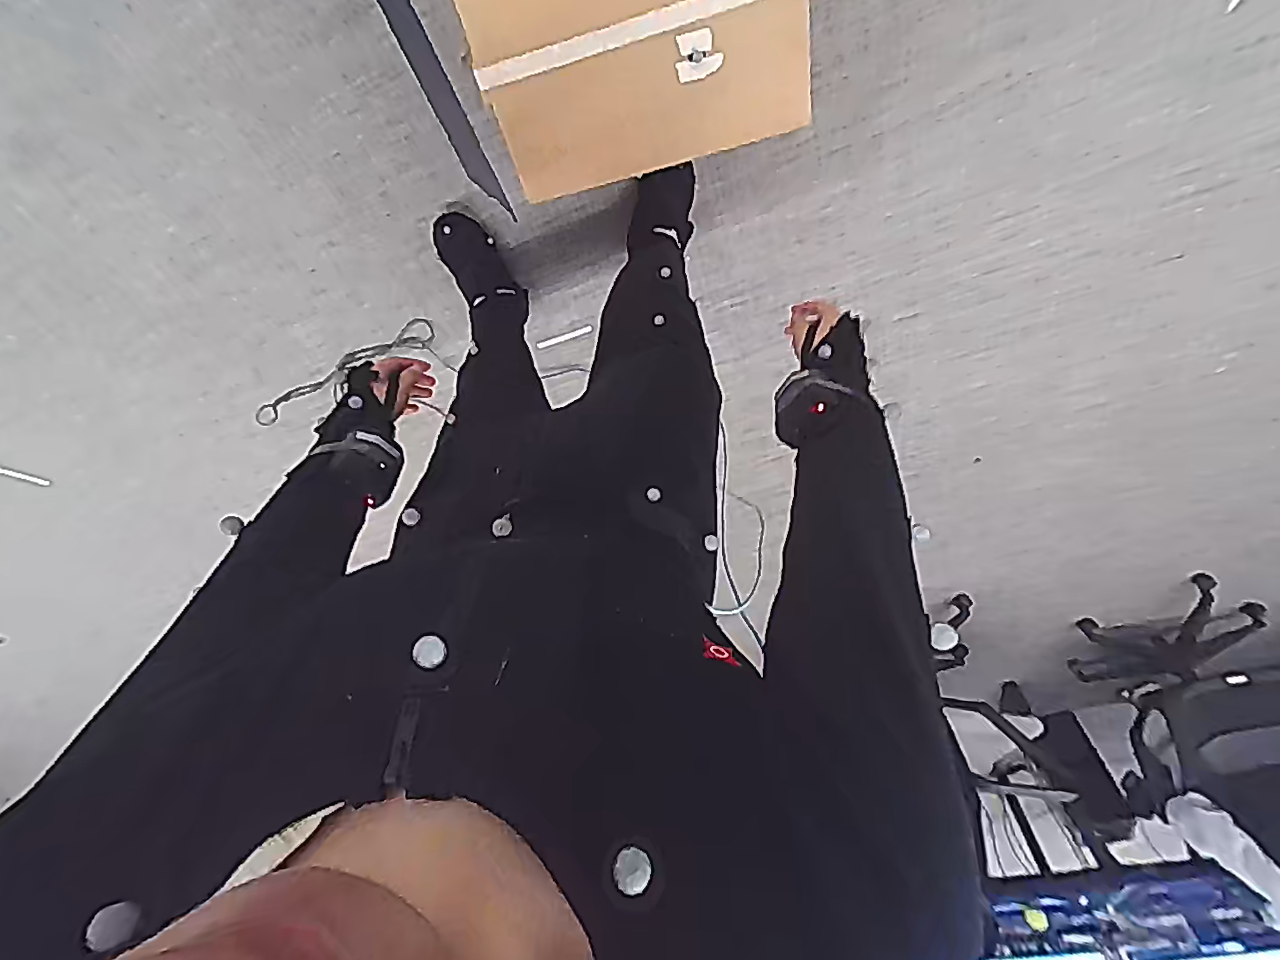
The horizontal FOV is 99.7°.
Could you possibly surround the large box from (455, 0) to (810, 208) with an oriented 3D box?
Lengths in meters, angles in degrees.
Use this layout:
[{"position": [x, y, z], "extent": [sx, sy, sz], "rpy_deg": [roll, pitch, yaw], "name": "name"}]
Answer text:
[{"position": [-0.010, -0.640, 0.765], "extent": [0.408, 0.320, 0.320], "rpy_deg": [-12, 132, 8], "name": "large box"}]
